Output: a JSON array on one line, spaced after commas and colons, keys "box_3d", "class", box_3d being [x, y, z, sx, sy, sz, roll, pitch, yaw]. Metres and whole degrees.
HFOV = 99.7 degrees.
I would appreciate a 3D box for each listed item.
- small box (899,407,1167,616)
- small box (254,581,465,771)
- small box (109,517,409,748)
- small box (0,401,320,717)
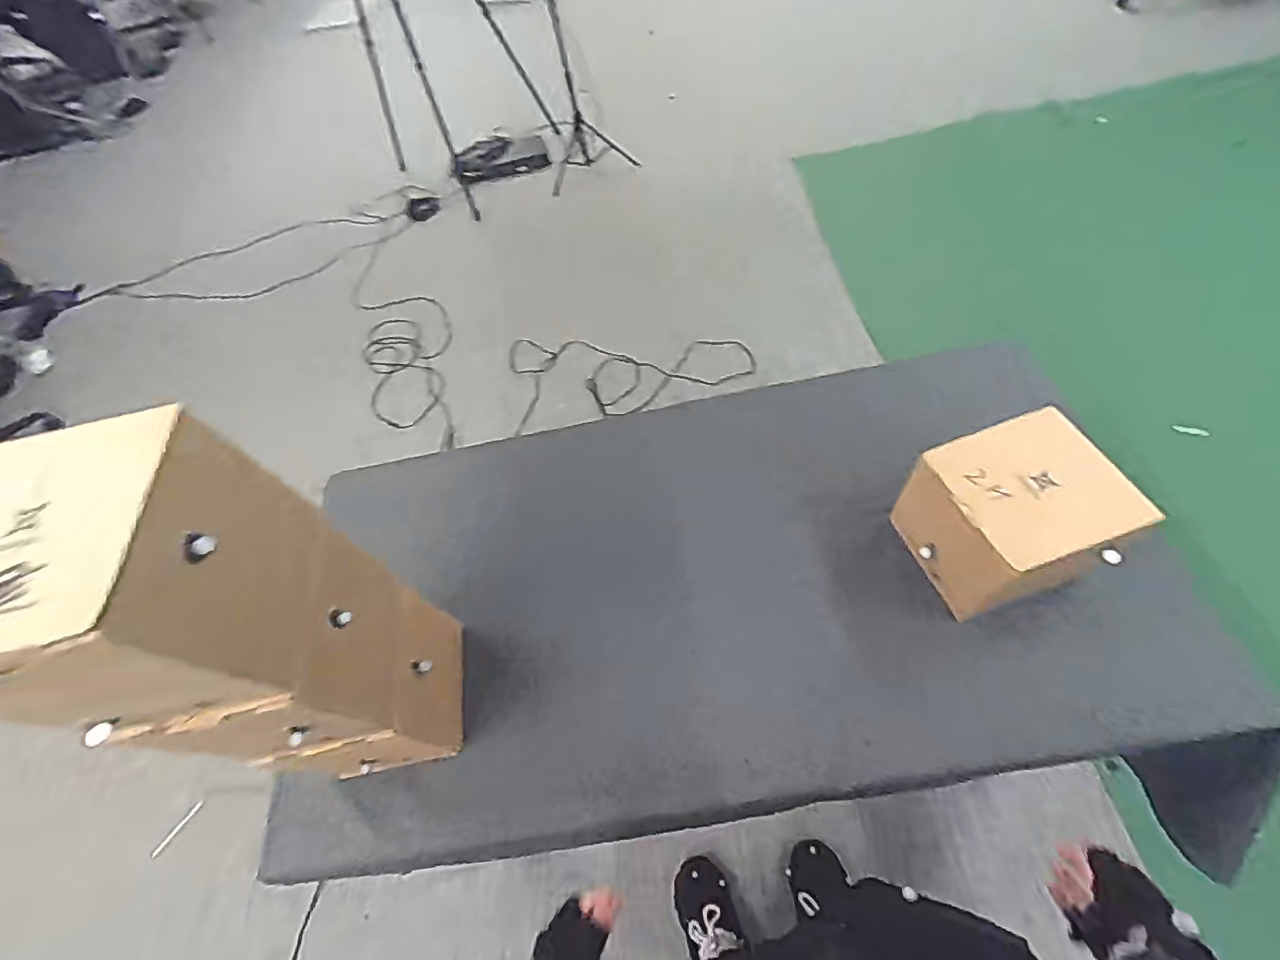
[{"box_3d": [0.455, 0.045, 0.665, 0.179, 0.176, 0.168, -20, 57, -1], "class": "small box"}, {"box_3d": [-0.334, 0.253, 0.685, 0.168, 0.176, 0.179, -13, 57, 2], "class": "small box"}, {"box_3d": [-0.356, 0.164, 0.550, 0.168, 0.176, 0.179, -11, 57, 2], "class": "small box"}, {"box_3d": [-0.381, 0.072, 0.416, 0.168, 0.176, 0.179, -12, 57, 0], "class": "small box"}]
